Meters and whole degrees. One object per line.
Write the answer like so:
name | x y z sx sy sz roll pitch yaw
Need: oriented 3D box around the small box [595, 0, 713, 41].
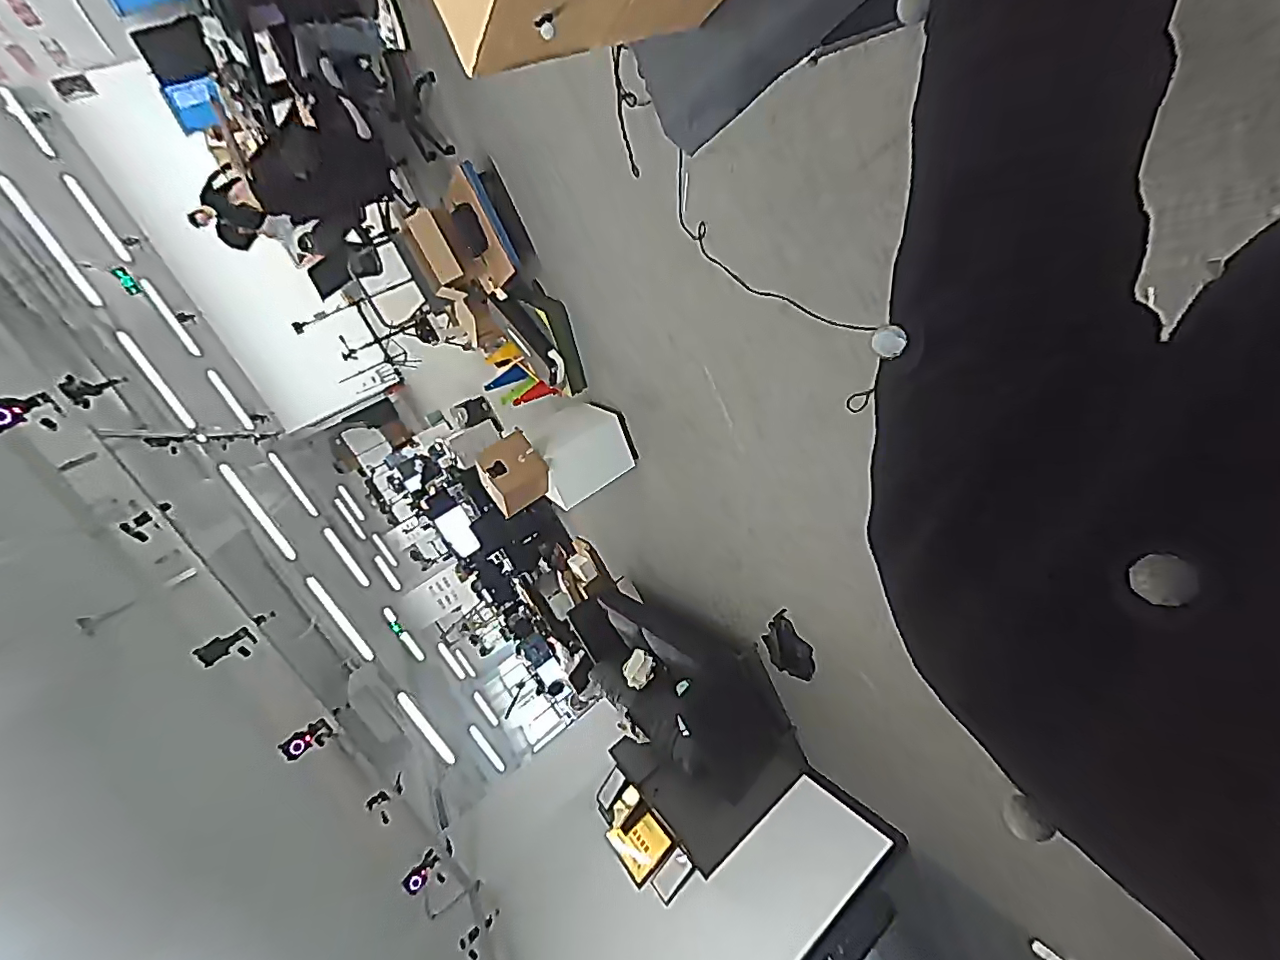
small box | 0.023 -0.615 0.566 0.179 0.176 0.168 14 132 60

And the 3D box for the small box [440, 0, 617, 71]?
small box | -0.108 -0.537 0.507 0.179 0.176 0.168 9 128 63
